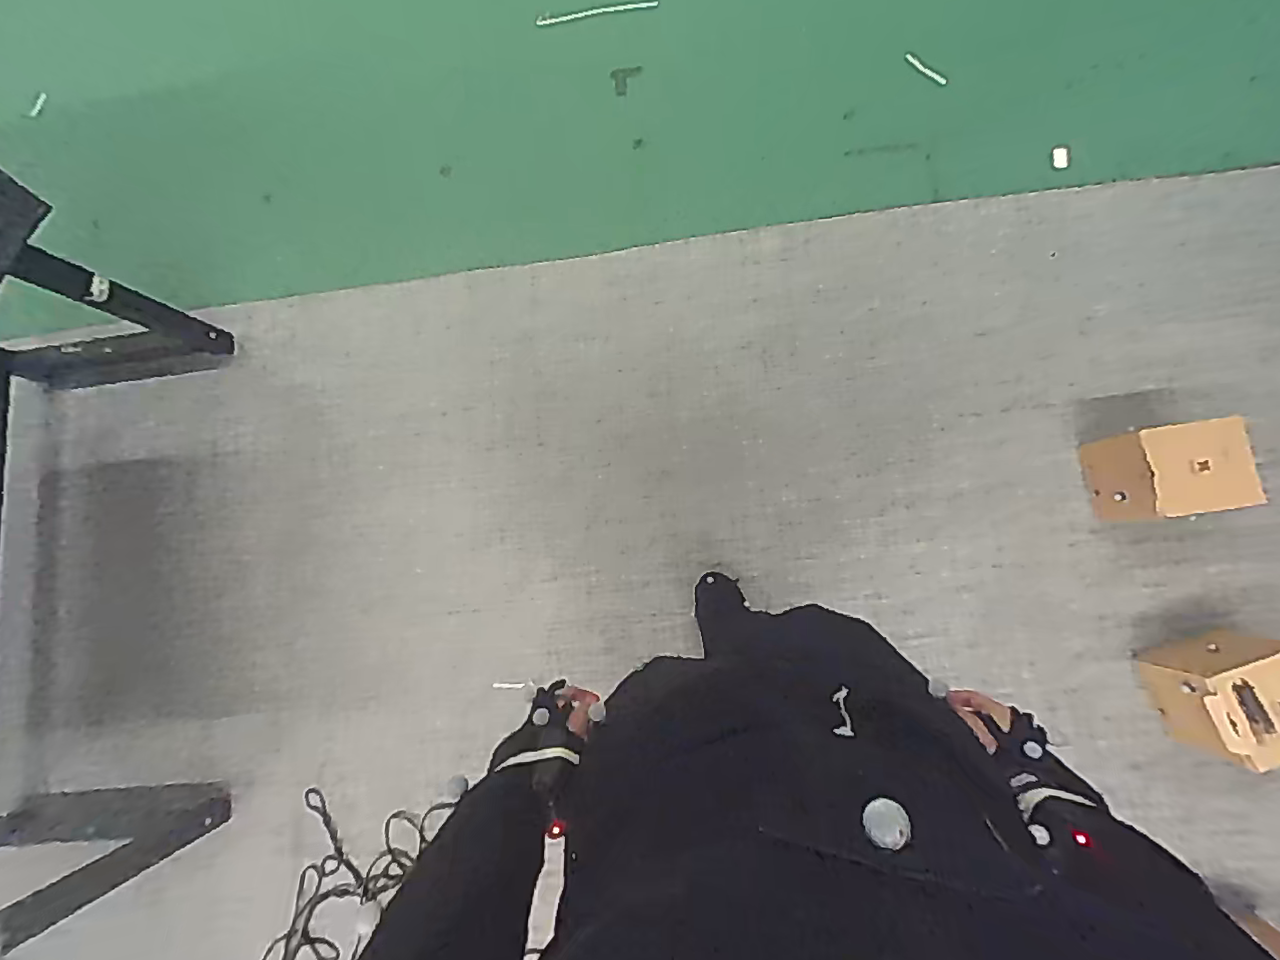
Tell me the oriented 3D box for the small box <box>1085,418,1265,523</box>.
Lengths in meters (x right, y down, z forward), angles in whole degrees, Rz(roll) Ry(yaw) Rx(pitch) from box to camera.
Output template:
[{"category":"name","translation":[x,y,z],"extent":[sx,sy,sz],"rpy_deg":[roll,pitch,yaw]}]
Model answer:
[{"category":"small box","translation":[1.014,-0.010,1.049],"extent":[0.179,0.176,0.168],"rpy_deg":[-9,83,4]}]
